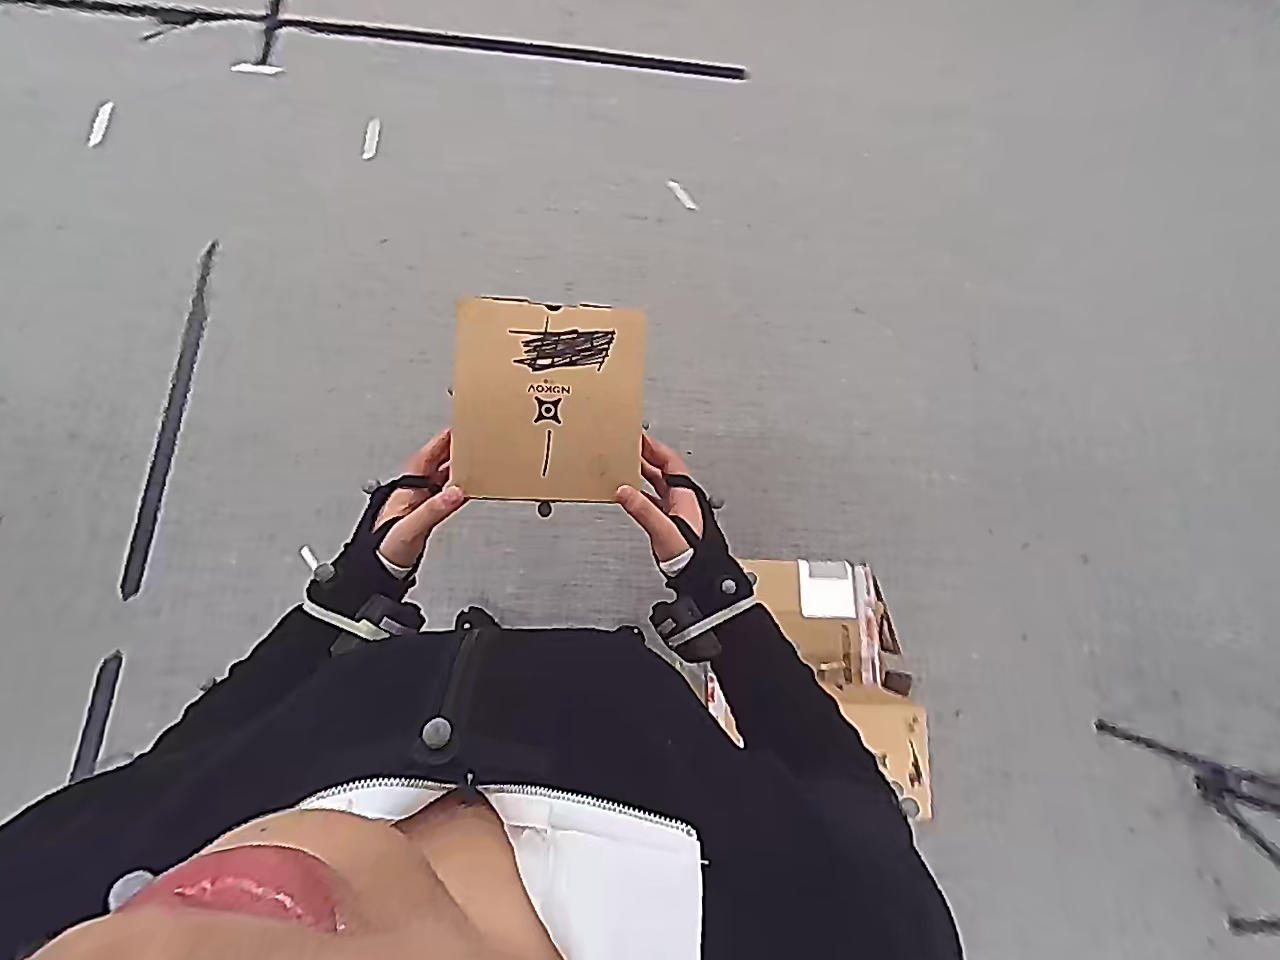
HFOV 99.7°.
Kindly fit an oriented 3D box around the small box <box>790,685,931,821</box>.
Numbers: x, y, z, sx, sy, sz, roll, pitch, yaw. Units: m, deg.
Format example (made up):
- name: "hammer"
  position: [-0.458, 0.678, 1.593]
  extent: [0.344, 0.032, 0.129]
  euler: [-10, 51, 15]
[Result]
- name: "small box"
  position: [0.360, 0.449, 0.915]
  extent: [0.179, 0.176, 0.168]
  euler: [3, 80, -1]
